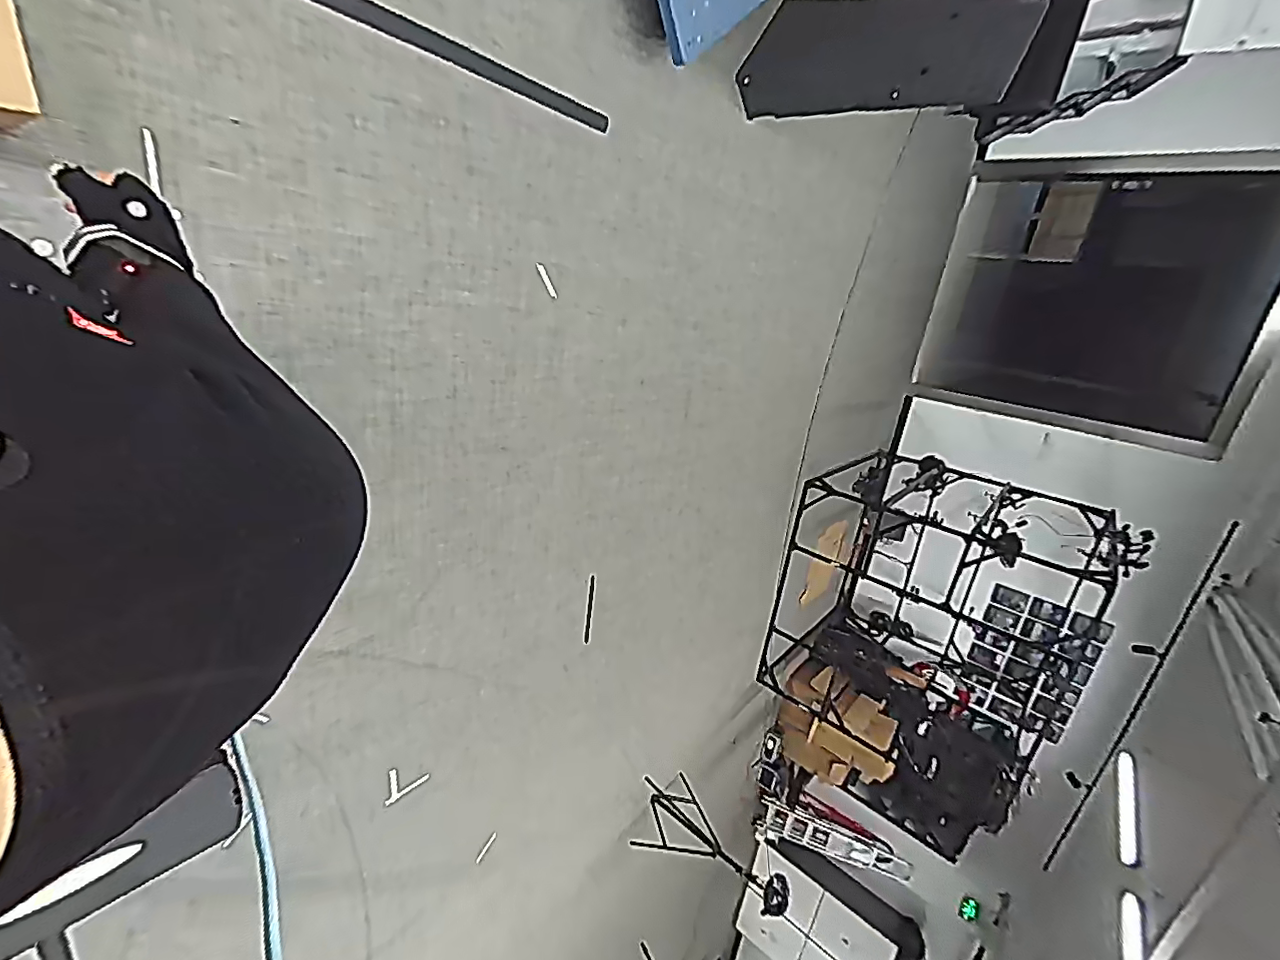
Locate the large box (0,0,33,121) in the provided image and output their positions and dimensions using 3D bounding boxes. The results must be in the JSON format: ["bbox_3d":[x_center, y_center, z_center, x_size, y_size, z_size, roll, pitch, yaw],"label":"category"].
[{"bbox_3d":[-1.058,-0.647,0.620,0.408,0.320,0.320,-21,125,-48],"label":"large box"}]
